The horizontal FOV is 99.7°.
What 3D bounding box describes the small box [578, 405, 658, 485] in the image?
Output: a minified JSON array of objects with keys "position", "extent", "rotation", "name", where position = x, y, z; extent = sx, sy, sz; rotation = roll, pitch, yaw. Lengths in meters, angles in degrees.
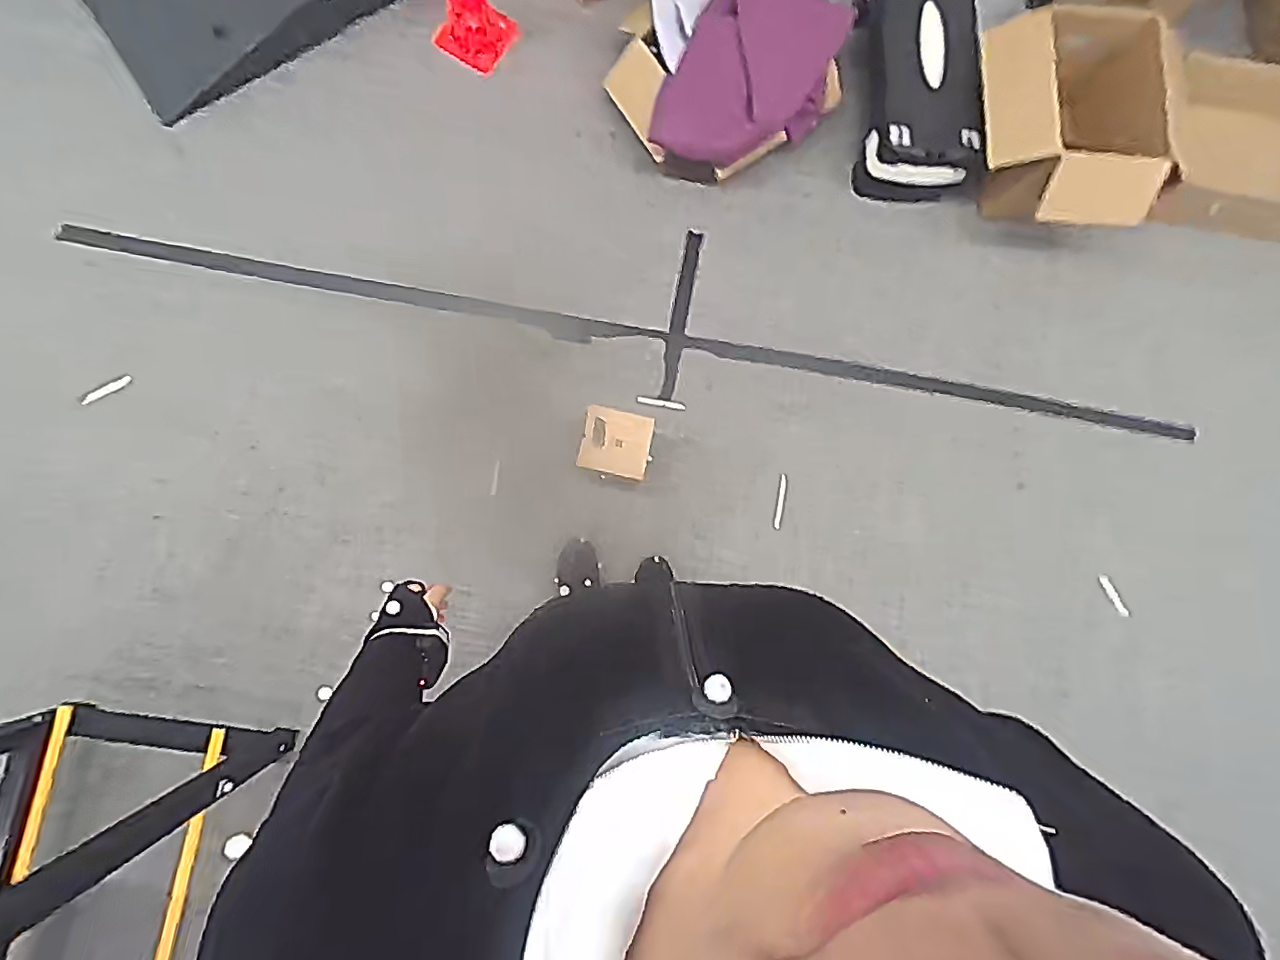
[{"position":[-0.059,-0.087,1.453],"extent":[0.179,0.176,0.168],"rotation":[13,84,-2],"name":"small box"}]
